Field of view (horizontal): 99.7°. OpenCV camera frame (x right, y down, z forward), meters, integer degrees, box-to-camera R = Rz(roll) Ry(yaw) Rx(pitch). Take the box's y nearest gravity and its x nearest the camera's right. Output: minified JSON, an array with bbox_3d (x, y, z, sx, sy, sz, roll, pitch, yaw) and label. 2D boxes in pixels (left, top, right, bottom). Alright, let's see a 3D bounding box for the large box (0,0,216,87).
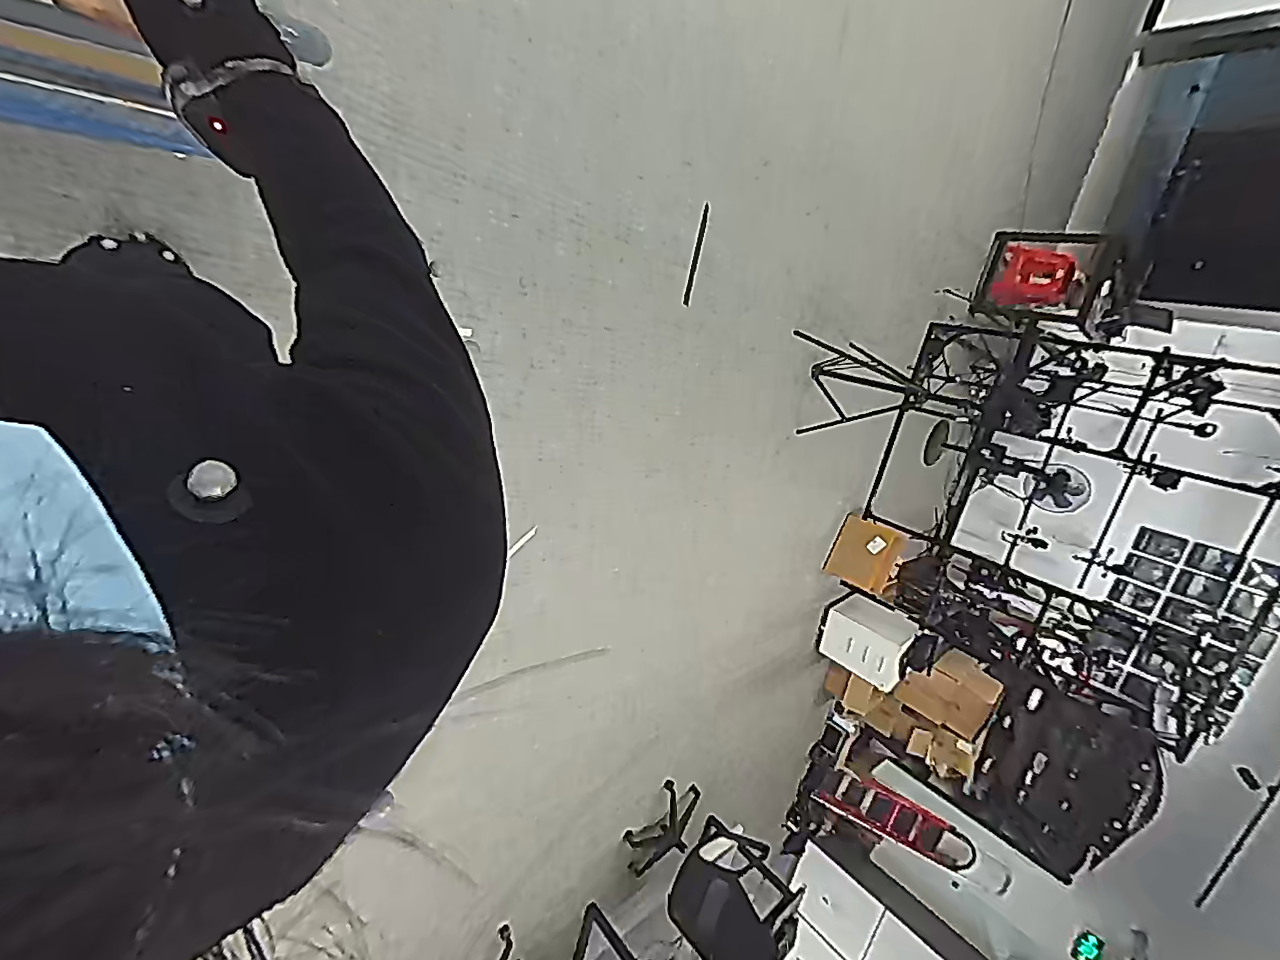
[{"bbox_3d":[-0.777,-0.709,0.614,0.408,0.320,0.320,-12,118,-43],"label":"large box"}]
